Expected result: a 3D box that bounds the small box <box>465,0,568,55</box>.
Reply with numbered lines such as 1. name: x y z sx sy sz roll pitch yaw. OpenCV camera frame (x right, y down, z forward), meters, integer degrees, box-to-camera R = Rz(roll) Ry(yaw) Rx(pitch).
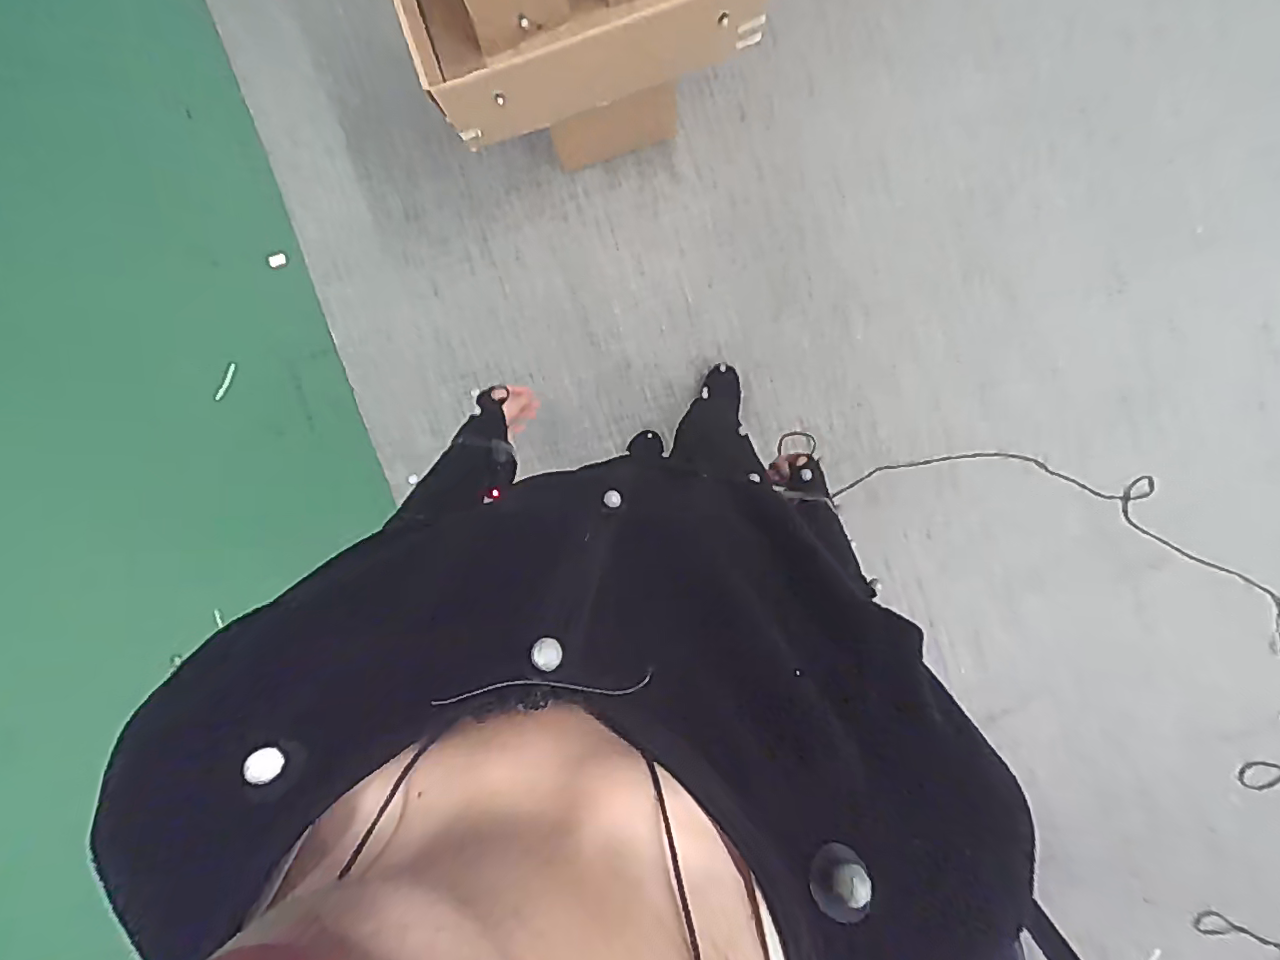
1. small box: -0.235 -0.885 0.913 0.168 0.176 0.179 -21 95 4
